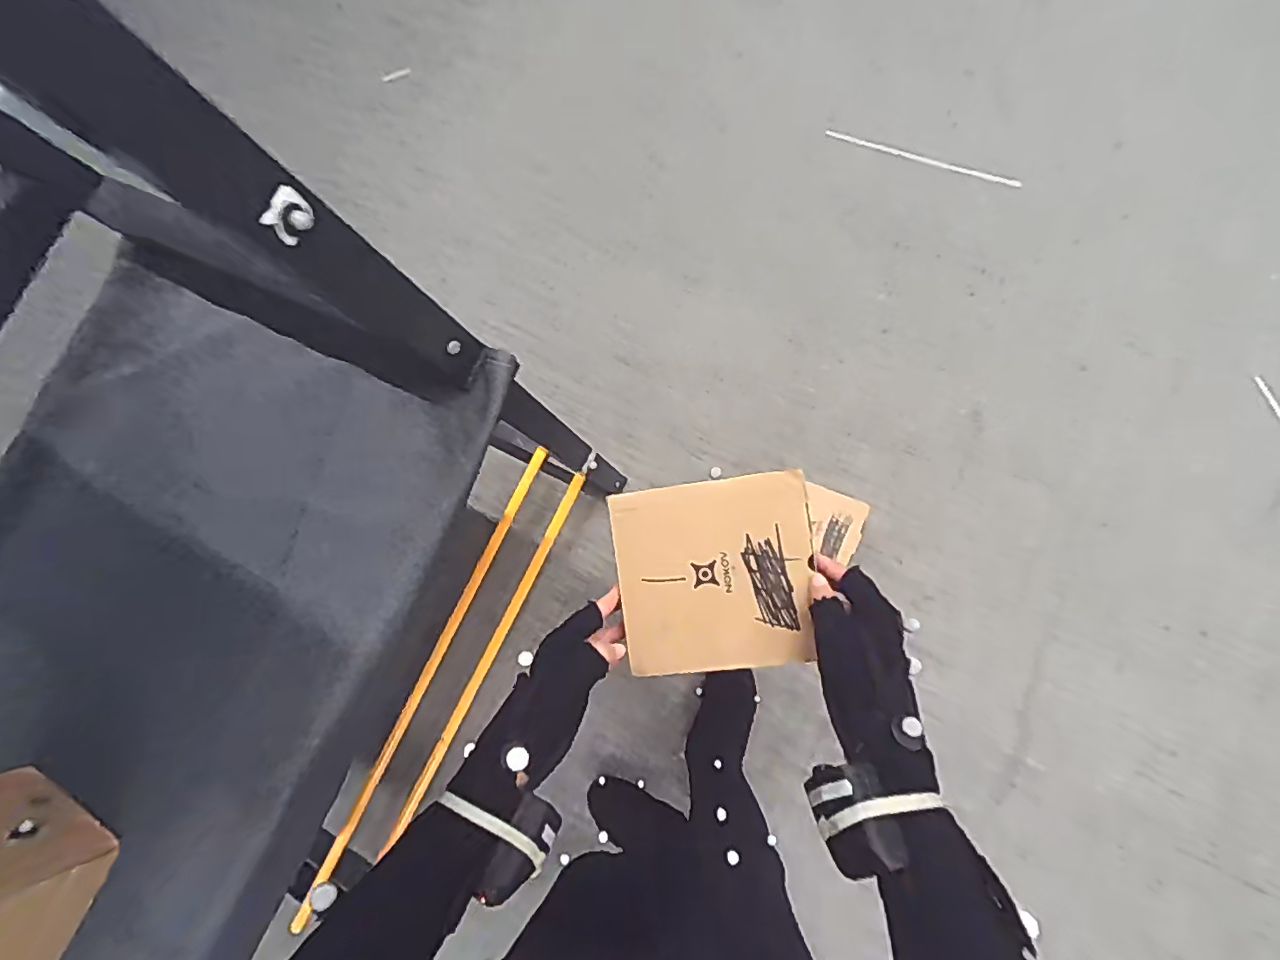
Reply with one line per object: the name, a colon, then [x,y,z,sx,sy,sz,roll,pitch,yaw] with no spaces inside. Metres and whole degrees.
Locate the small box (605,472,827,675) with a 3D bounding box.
small box: [0.077,0.083,0.545,0.179,0.176,0.168,-8,87,11]
